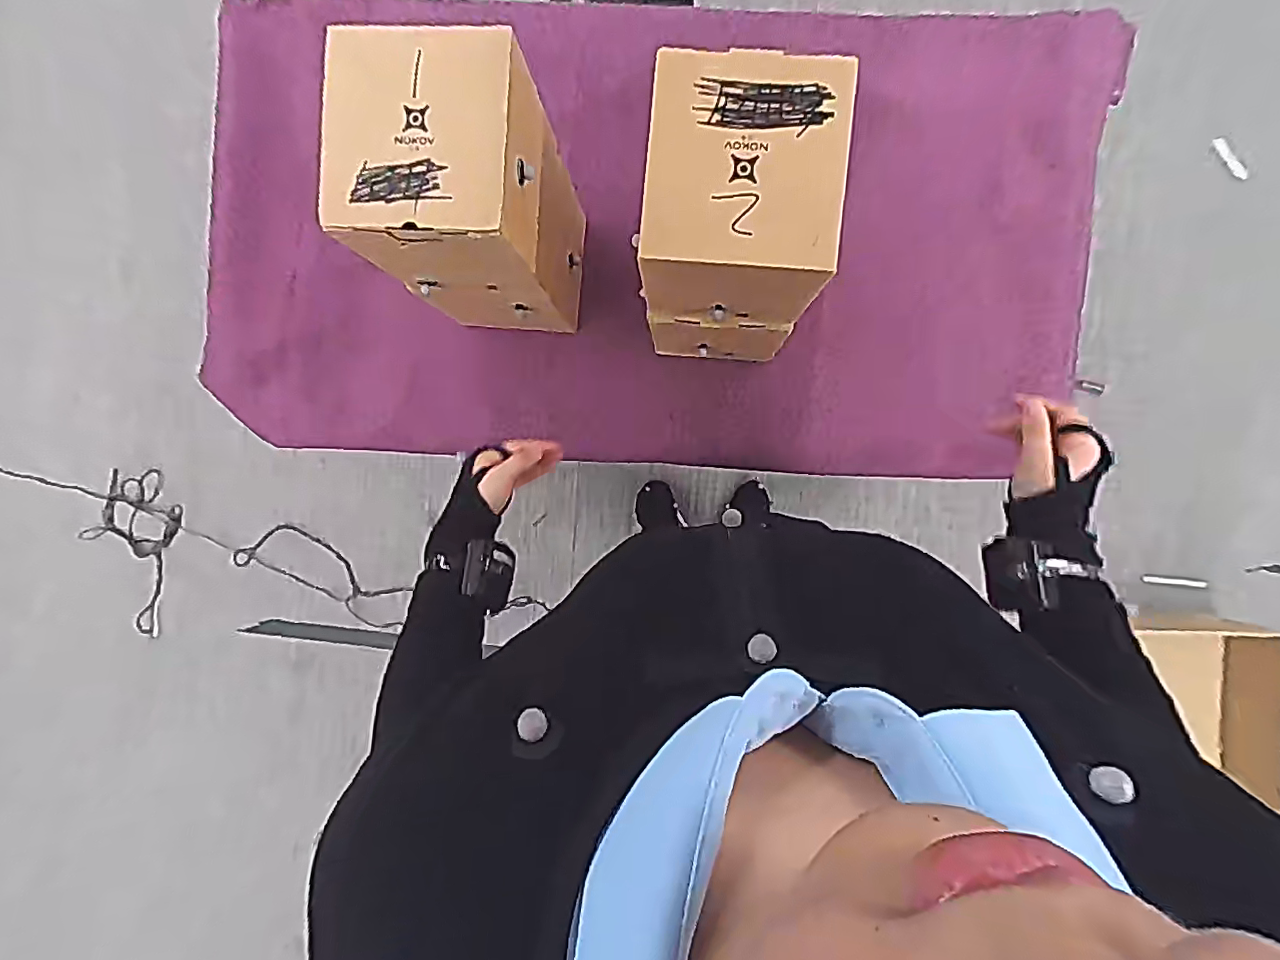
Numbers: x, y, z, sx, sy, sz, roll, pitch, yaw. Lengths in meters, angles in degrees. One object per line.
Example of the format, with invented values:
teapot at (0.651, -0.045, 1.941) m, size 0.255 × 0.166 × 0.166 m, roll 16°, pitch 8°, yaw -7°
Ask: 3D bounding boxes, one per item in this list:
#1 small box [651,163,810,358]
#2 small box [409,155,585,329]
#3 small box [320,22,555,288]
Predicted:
small box at (0.106, -0.264, 0.684) m, size 0.168 × 0.176 × 0.179 m, roll 5°, pitch 92°, yaw 4°
small box at (-0.173, -0.301, 0.705) m, size 0.179 × 0.176 × 0.168 m, roll 5°, pitch 92°, yaw 4°
small box at (-0.185, -0.303, 0.541) m, size 0.168 × 0.176 × 0.179 m, roll 3°, pitch 91°, yaw 4°
